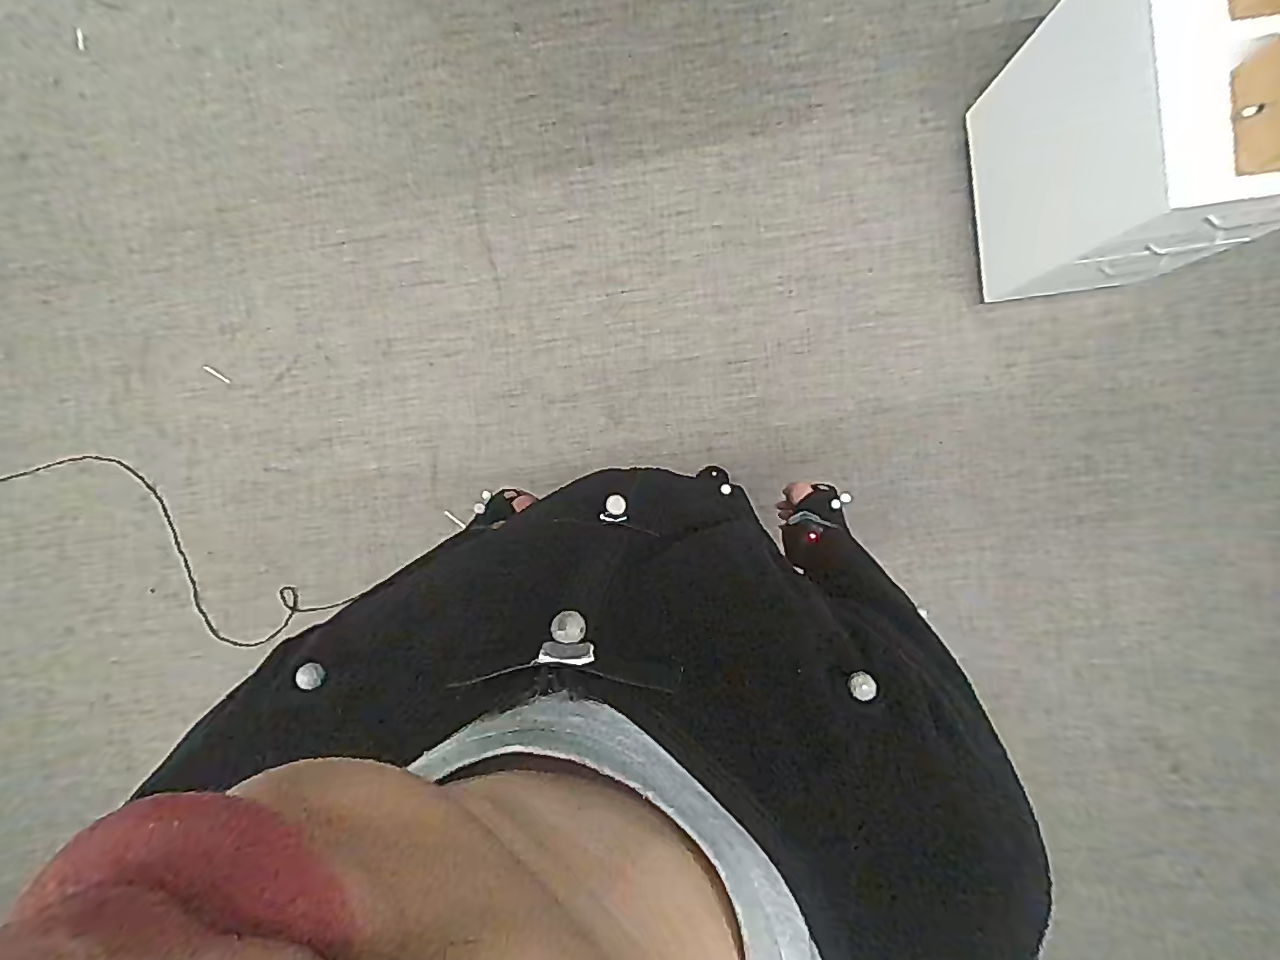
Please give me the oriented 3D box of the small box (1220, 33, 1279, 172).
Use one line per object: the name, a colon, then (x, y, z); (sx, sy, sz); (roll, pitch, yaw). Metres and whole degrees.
small box: (1.048, -0.595, 0.821); (0.168, 0.176, 0.179); (-5, 93, 3)
